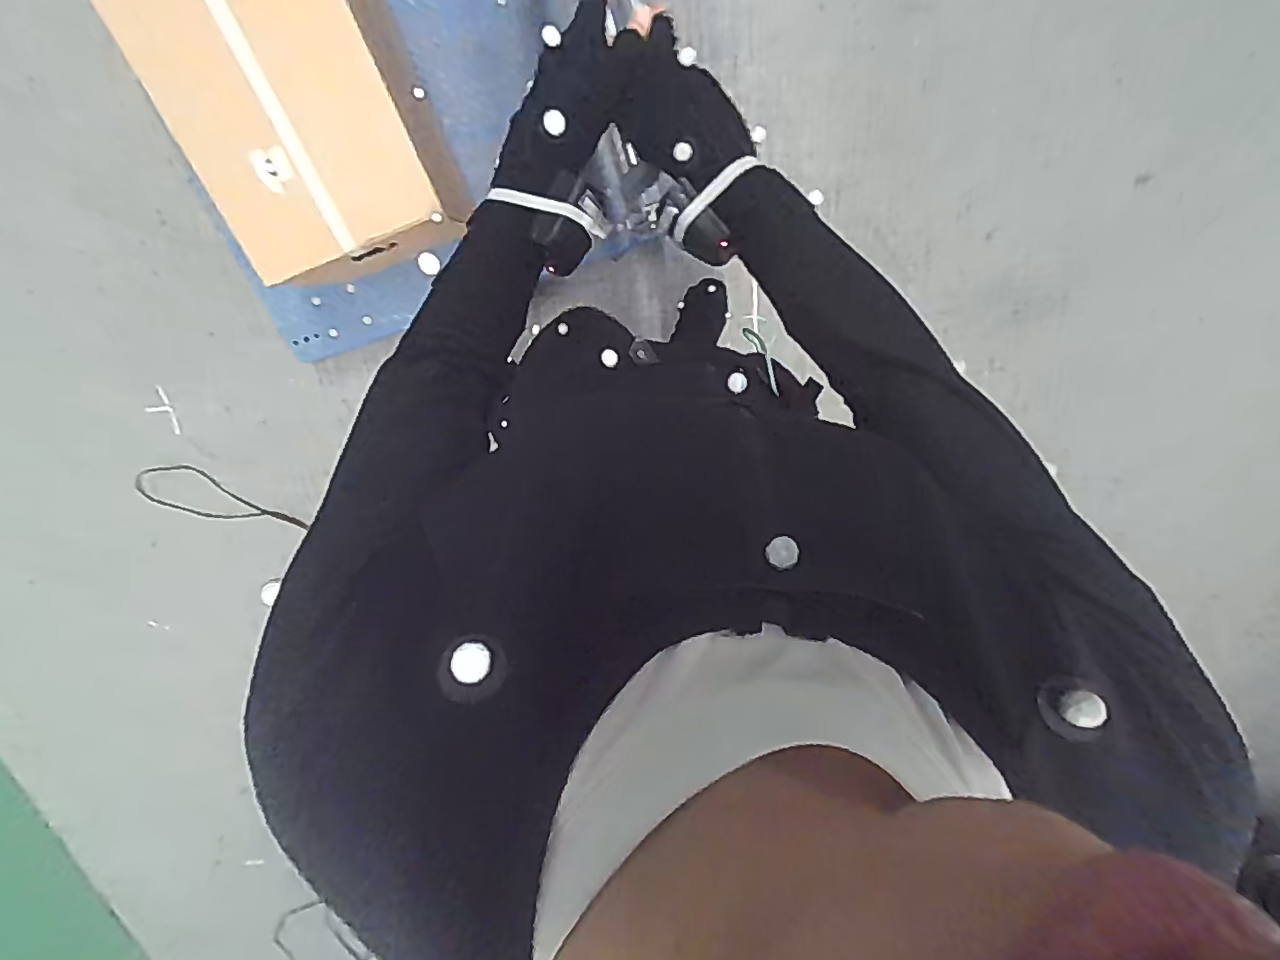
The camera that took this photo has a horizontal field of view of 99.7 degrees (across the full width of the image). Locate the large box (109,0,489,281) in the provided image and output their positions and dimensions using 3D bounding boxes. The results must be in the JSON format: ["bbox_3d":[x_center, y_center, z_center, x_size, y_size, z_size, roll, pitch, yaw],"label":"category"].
[{"bbox_3d":[-0.509,-0.595,0.915,0.320,0.320,0.408,-21,112,5],"label":"large box"}]
